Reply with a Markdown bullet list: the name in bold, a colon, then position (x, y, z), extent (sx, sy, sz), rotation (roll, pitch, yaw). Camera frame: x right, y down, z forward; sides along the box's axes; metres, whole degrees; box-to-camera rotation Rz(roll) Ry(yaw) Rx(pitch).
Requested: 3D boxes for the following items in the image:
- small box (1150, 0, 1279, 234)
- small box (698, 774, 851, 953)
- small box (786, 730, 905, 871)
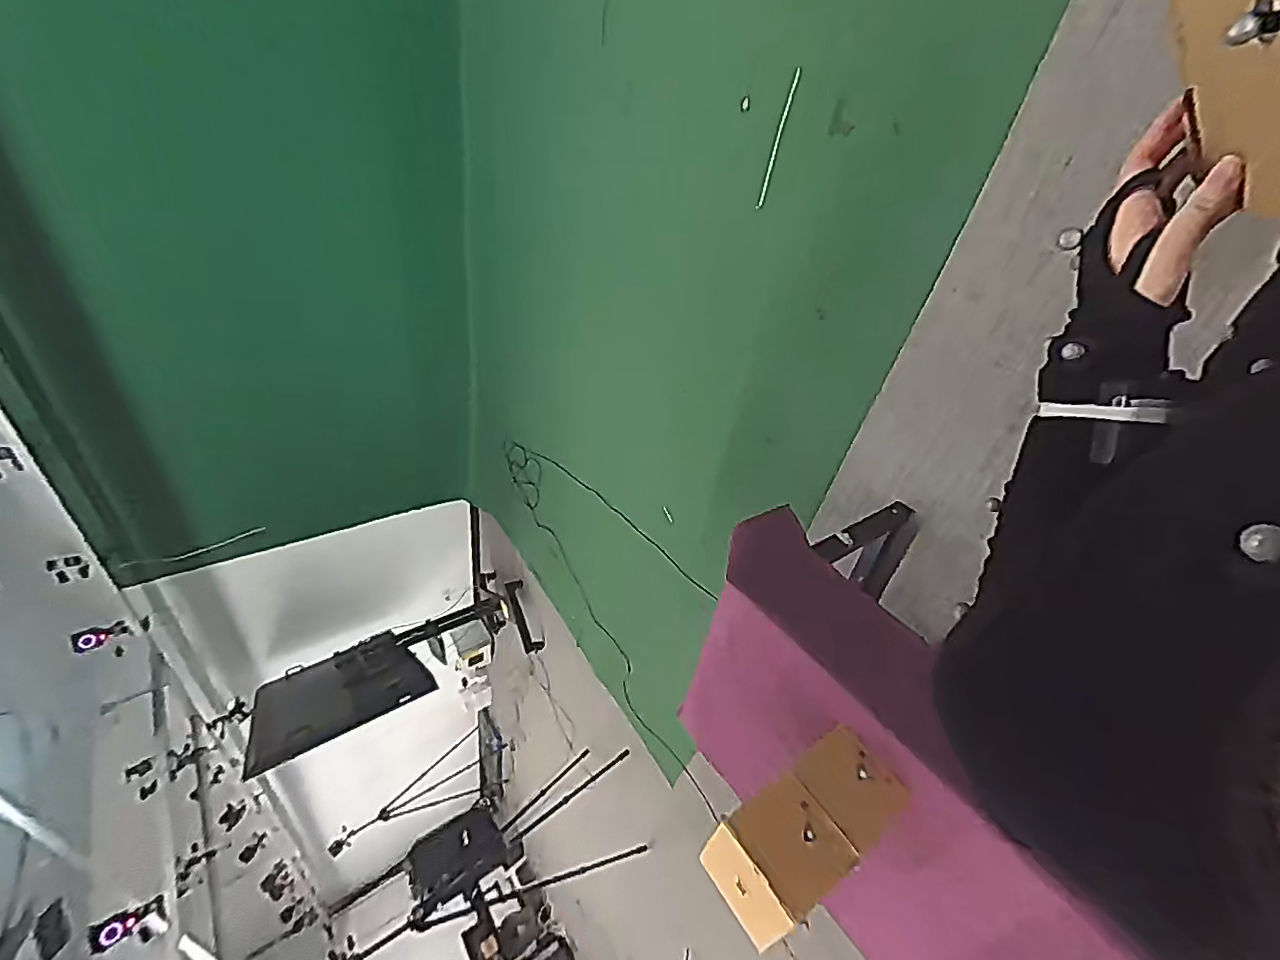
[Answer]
- **small box**: position (0.381, -0.244, 0.248), extent (0.179, 0.176, 0.168), rotation (-15, 114, 35)
- **small box**: position (0.232, 0.659, 0.940), extent (0.168, 0.176, 0.179), rotation (45, 137, 35)
- **small box**: position (0.364, 0.619, 1.028), extent (0.168, 0.176, 0.179), rotation (44, 137, 35)
